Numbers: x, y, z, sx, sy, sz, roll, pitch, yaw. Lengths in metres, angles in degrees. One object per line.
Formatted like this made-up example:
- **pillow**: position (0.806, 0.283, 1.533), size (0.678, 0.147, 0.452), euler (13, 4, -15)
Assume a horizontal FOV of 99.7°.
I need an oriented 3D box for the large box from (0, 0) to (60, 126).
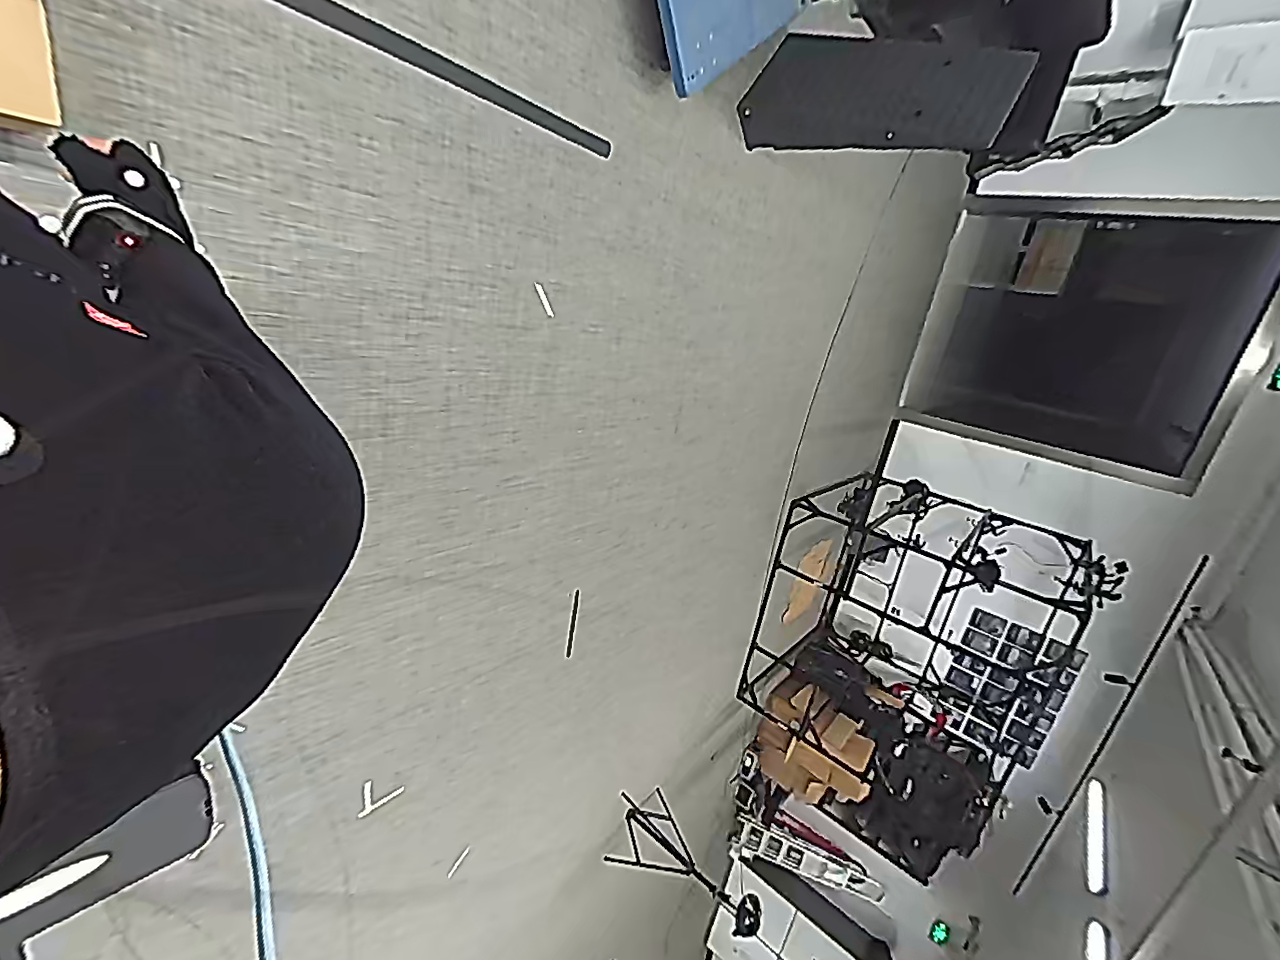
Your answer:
- **large box**: position (-1.029, -0.659, 0.637), size (0.408, 0.320, 0.320), euler (-16, 122, -51)
